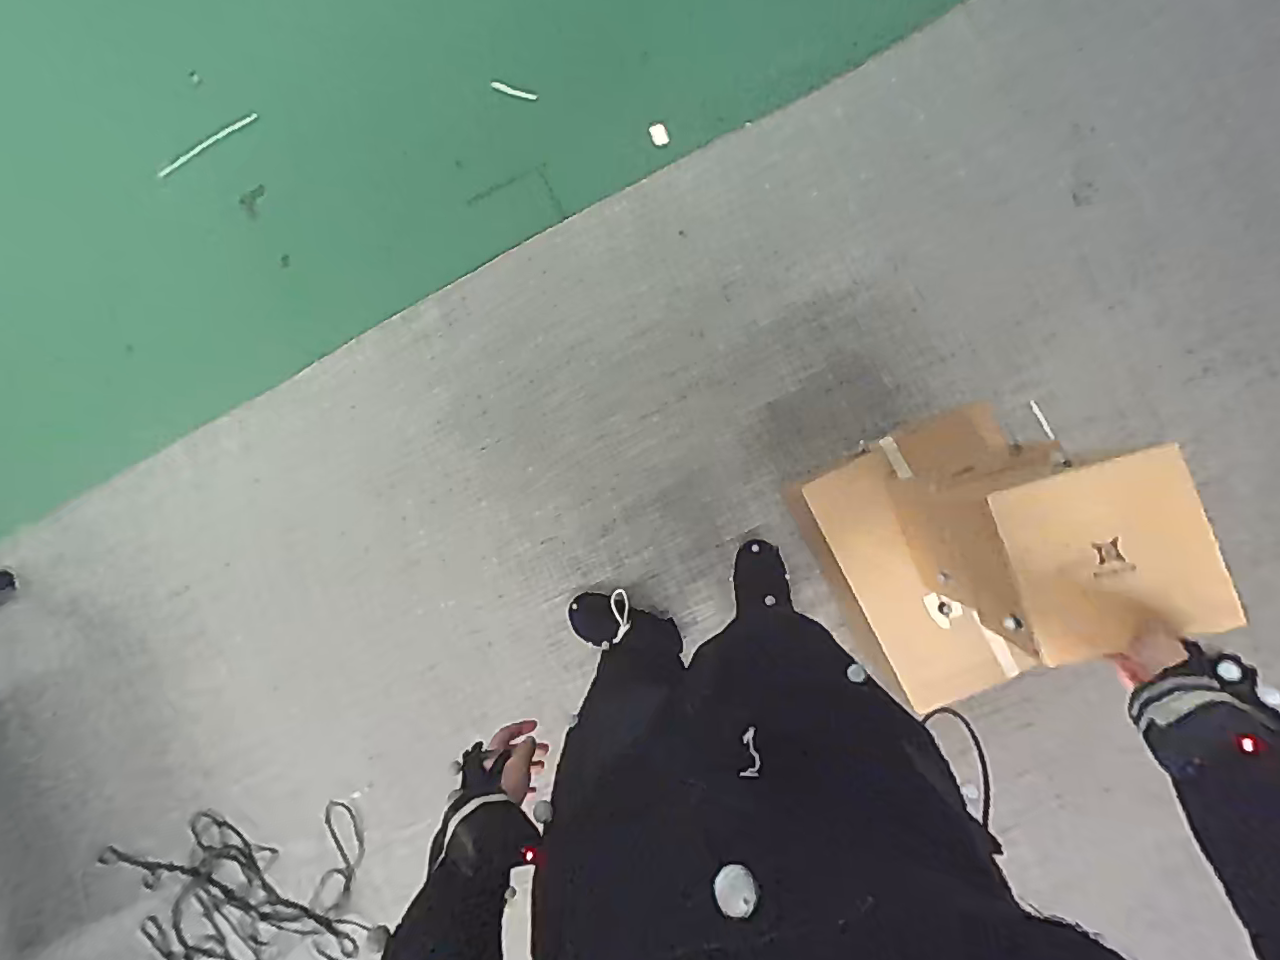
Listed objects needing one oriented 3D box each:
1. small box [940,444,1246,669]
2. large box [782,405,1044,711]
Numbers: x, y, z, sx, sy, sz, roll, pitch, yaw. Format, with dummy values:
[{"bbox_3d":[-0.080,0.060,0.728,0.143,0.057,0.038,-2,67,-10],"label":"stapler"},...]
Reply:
[{"bbox_3d":[0.453,0.074,0.579,0.168,0.176,0.179,-19,86,13],"label":"small box"},{"bbox_3d":[0.507,0.123,0.996,0.320,0.320,0.408,-27,87,8],"label":"large box"}]
